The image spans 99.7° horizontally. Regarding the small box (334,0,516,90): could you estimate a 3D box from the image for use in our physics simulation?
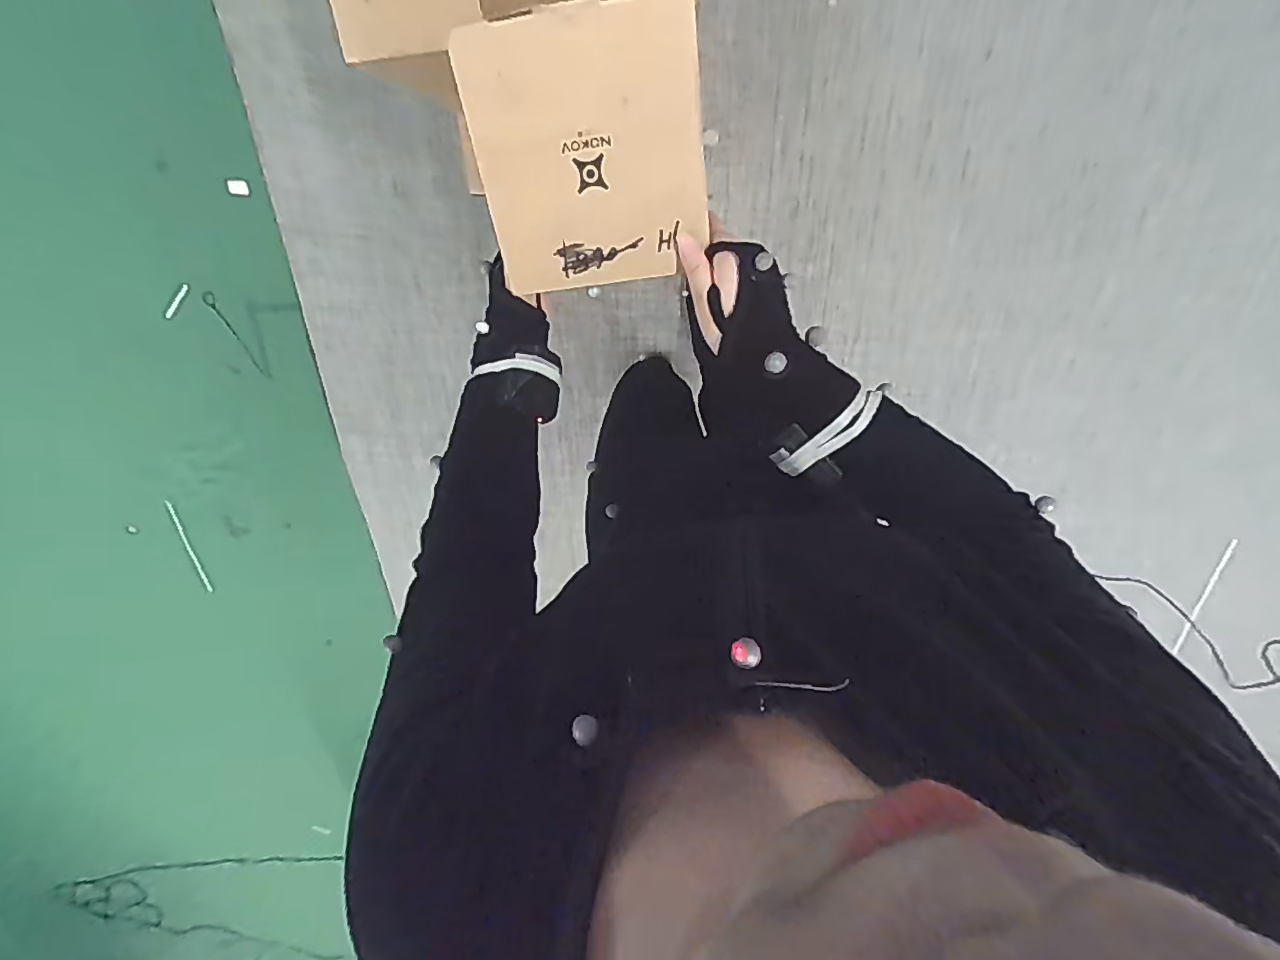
[{"bbox_3d":[-0.251,-0.597,0.657,0.179,0.176,0.168,-1,114,7],"label":"small box"}]

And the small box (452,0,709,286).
[{"bbox_3d":[-0.031,-0.280,0.460,0.168,0.176,0.179,-4,122,8],"label":"small box"}]
